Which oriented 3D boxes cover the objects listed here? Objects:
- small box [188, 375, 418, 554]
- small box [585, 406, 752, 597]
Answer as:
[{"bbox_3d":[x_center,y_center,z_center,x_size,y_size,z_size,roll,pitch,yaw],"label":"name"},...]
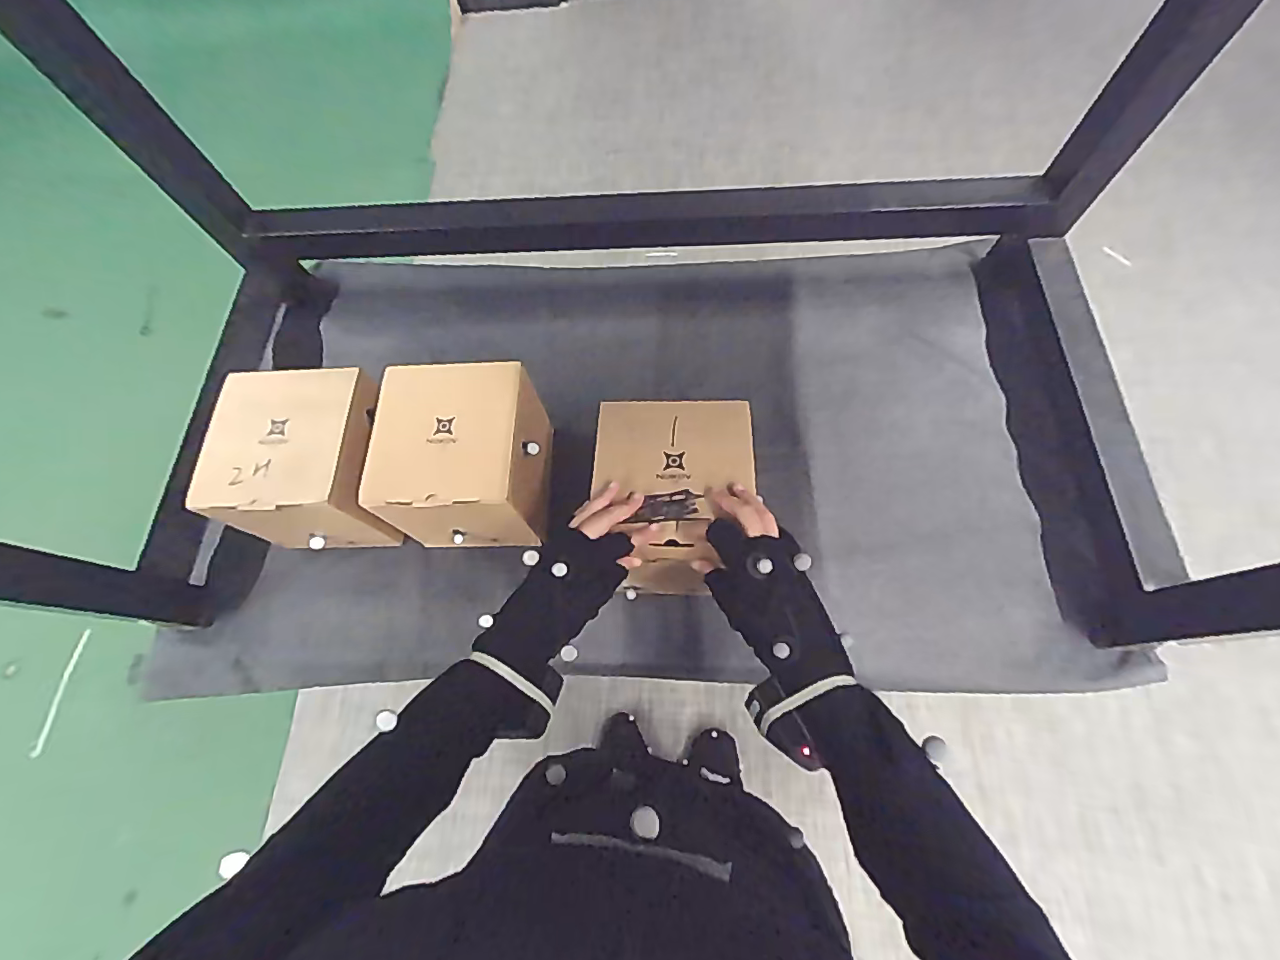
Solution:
[{"bbox_3d":[-0.405,-0.013,0.688,0.168,0.176,0.179,-2,67,4],"label":"small box"},{"bbox_3d":[0.038,0.033,0.627,0.168,0.176,0.179,0,63,5],"label":"small box"}]
